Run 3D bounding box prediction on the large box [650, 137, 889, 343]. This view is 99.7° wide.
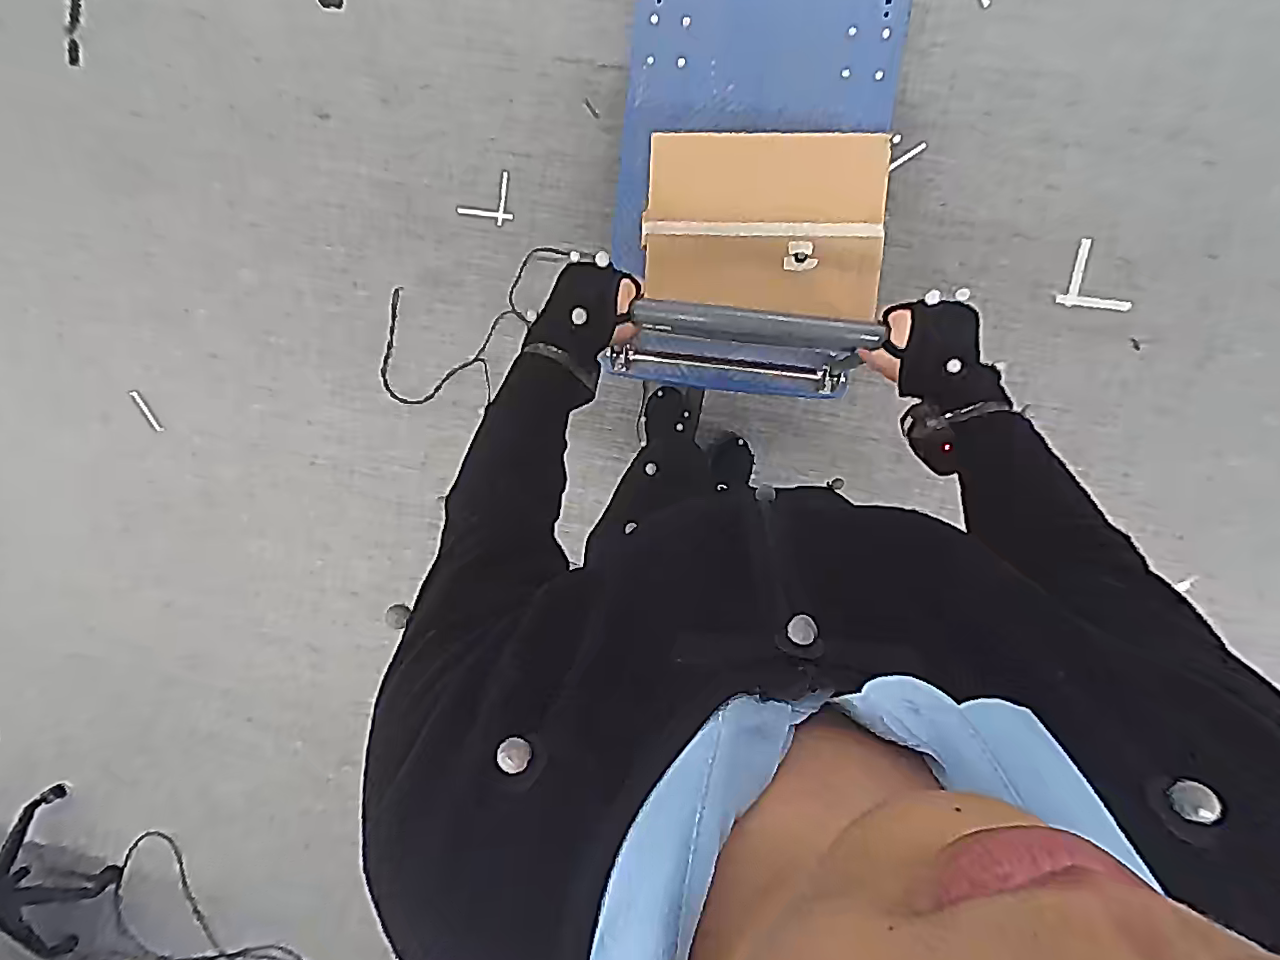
[{"bbox_3d":[0.229,-0.453,1.092,0.408,0.320,0.320,3,99,4],"label":"large box"}]
